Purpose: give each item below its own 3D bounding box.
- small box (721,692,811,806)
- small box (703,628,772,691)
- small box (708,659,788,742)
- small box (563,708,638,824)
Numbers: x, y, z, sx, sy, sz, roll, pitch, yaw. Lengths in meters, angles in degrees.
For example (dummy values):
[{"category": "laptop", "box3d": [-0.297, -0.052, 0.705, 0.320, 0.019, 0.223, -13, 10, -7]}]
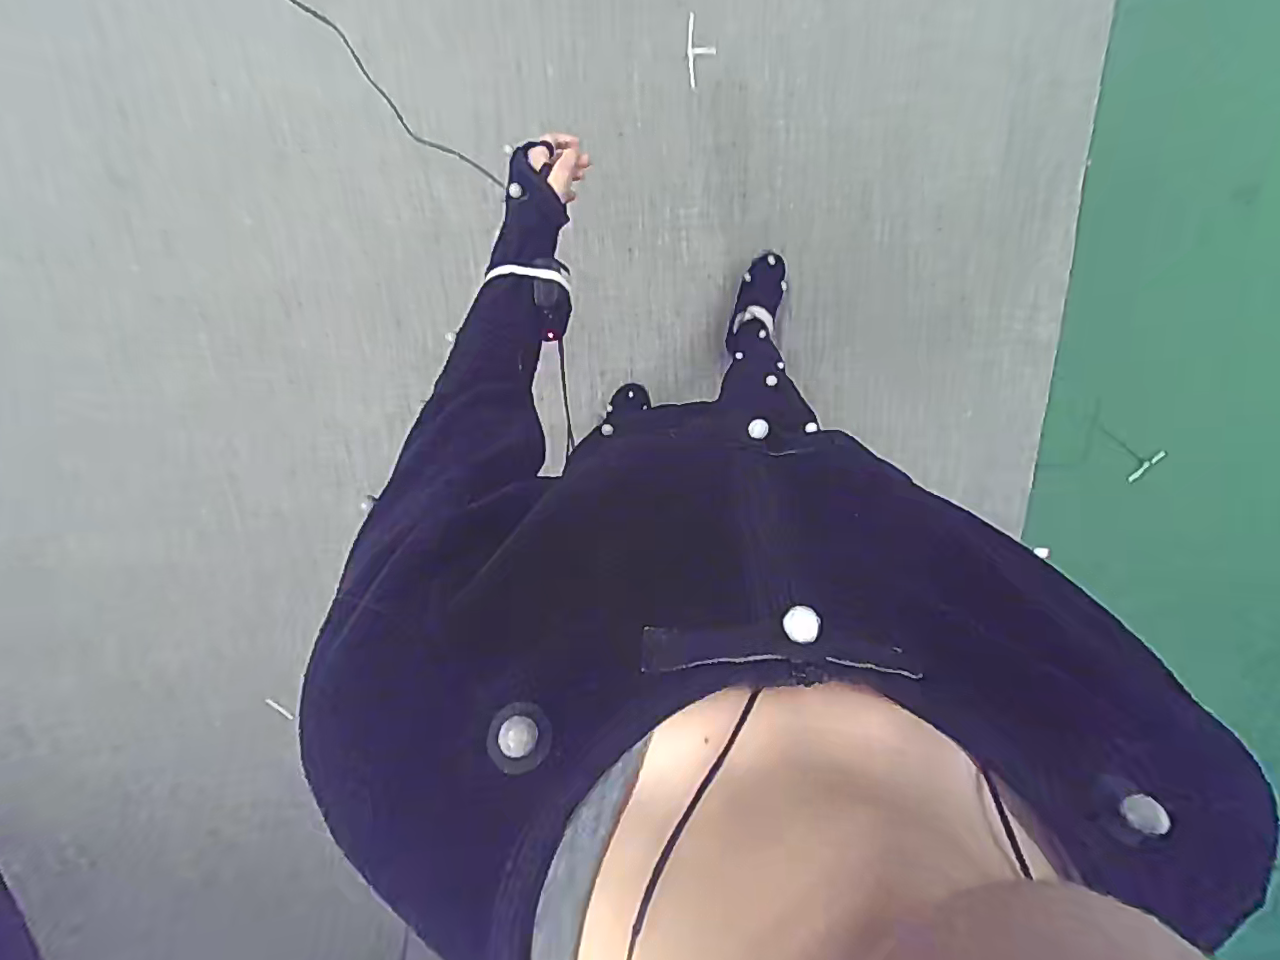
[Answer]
[{"category": "small box", "box3d": [0.293, 0.633, 1.286, 0.179, 0.176, 0.168, -7, 107, -2]}, {"category": "small box", "box3d": [0.286, 0.562, 1.608, 0.179, 0.176, 0.168, -8, 106, -2]}, {"category": "small box", "box3d": [0.290, 0.602, 1.450, 0.179, 0.176, 0.168, -9, 106, -1]}, {"category": "small box", "box3d": [-0.089, 0.668, 1.274, 0.168, 0.176, 0.179, -2, 106, -4]}]
